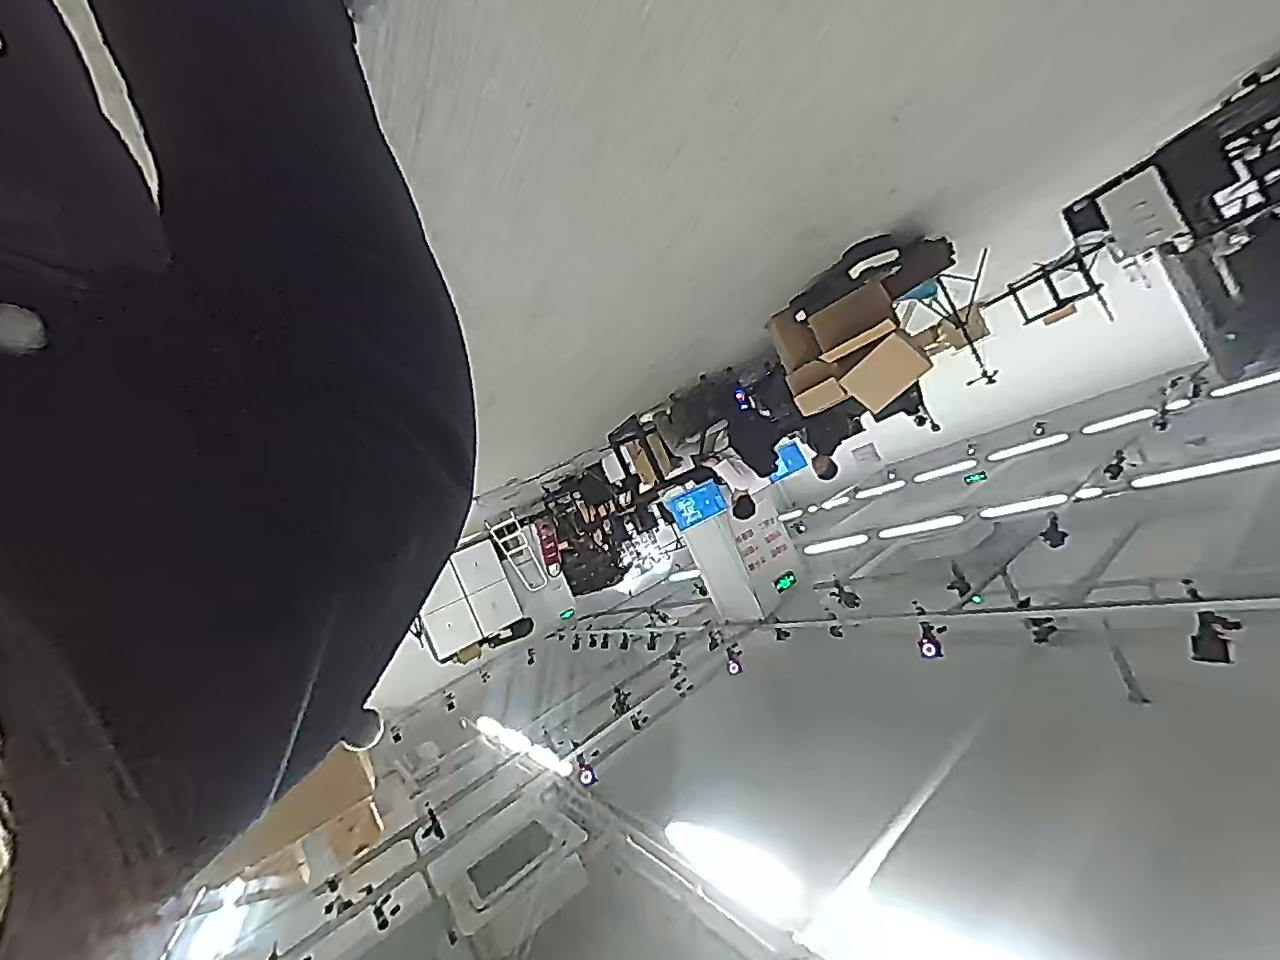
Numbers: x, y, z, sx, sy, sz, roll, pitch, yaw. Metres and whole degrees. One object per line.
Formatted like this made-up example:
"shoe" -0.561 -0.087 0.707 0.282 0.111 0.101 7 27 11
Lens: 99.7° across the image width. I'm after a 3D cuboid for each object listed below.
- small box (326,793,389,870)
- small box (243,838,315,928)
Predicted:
"small box" -1.093 1.349 2.089 0.168 0.176 0.179 -25 175 -32
"small box" -1.297 1.442 1.948 0.168 0.176 0.179 -23 176 -31
